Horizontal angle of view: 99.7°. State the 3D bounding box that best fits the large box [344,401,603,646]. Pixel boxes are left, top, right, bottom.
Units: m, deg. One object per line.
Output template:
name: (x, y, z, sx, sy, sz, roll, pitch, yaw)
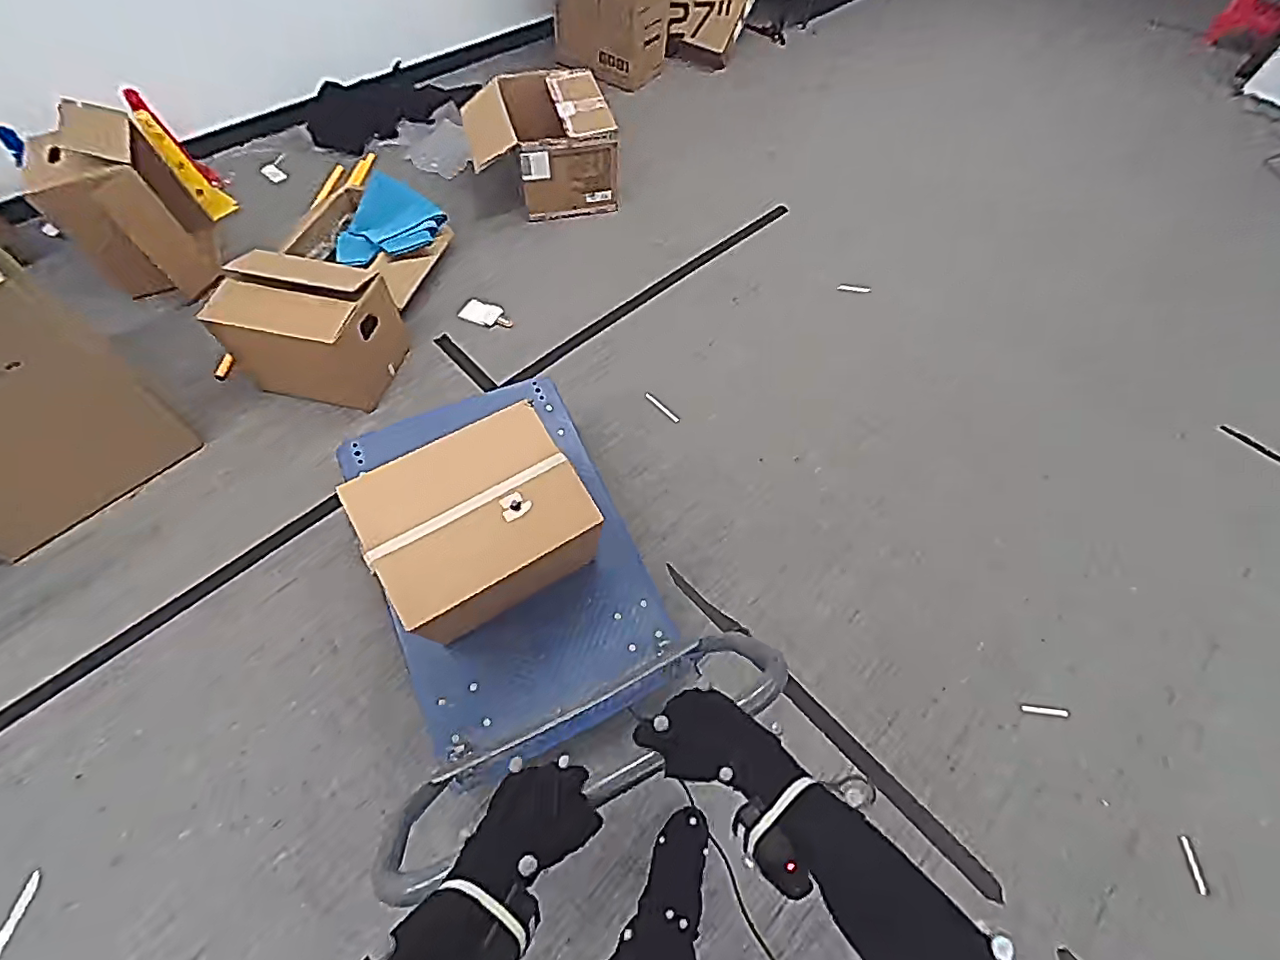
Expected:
large box: (-0.335, 0.105, 1.177, 0.408, 0.320, 0.320, -30, 75, -19)
